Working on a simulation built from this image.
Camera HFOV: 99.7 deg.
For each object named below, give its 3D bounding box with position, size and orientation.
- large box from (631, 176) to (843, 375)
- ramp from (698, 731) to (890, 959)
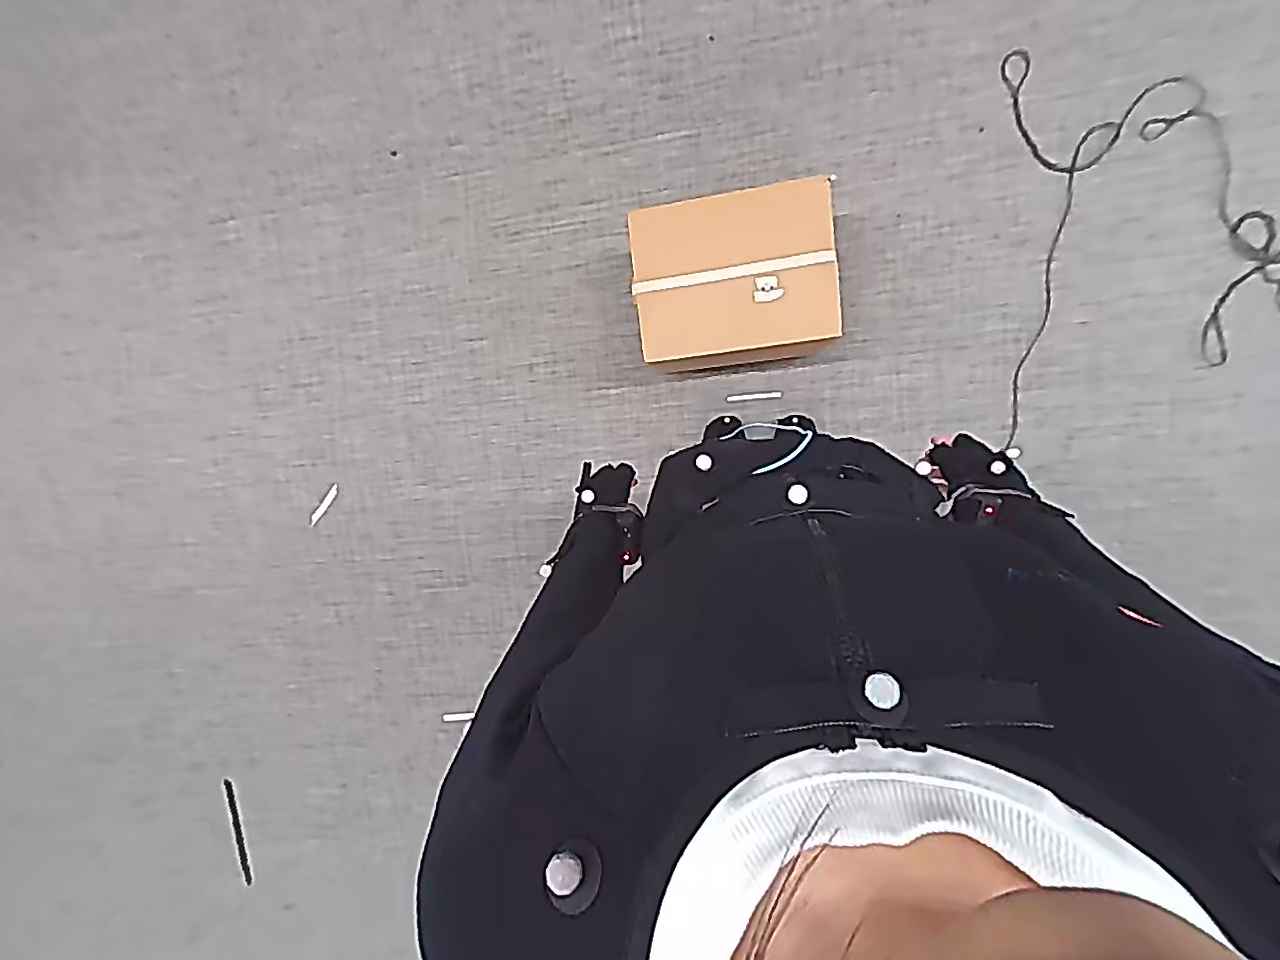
[{"bbox_3d":[0.216,-0.436,1.248,0.408,0.320,0.320,-6,96,10],"label":"large box"},{"bbox_3d":[0.412,1.204,1.465,0.509,0.206,0.991,-3,95,12],"label":"ramp"}]
